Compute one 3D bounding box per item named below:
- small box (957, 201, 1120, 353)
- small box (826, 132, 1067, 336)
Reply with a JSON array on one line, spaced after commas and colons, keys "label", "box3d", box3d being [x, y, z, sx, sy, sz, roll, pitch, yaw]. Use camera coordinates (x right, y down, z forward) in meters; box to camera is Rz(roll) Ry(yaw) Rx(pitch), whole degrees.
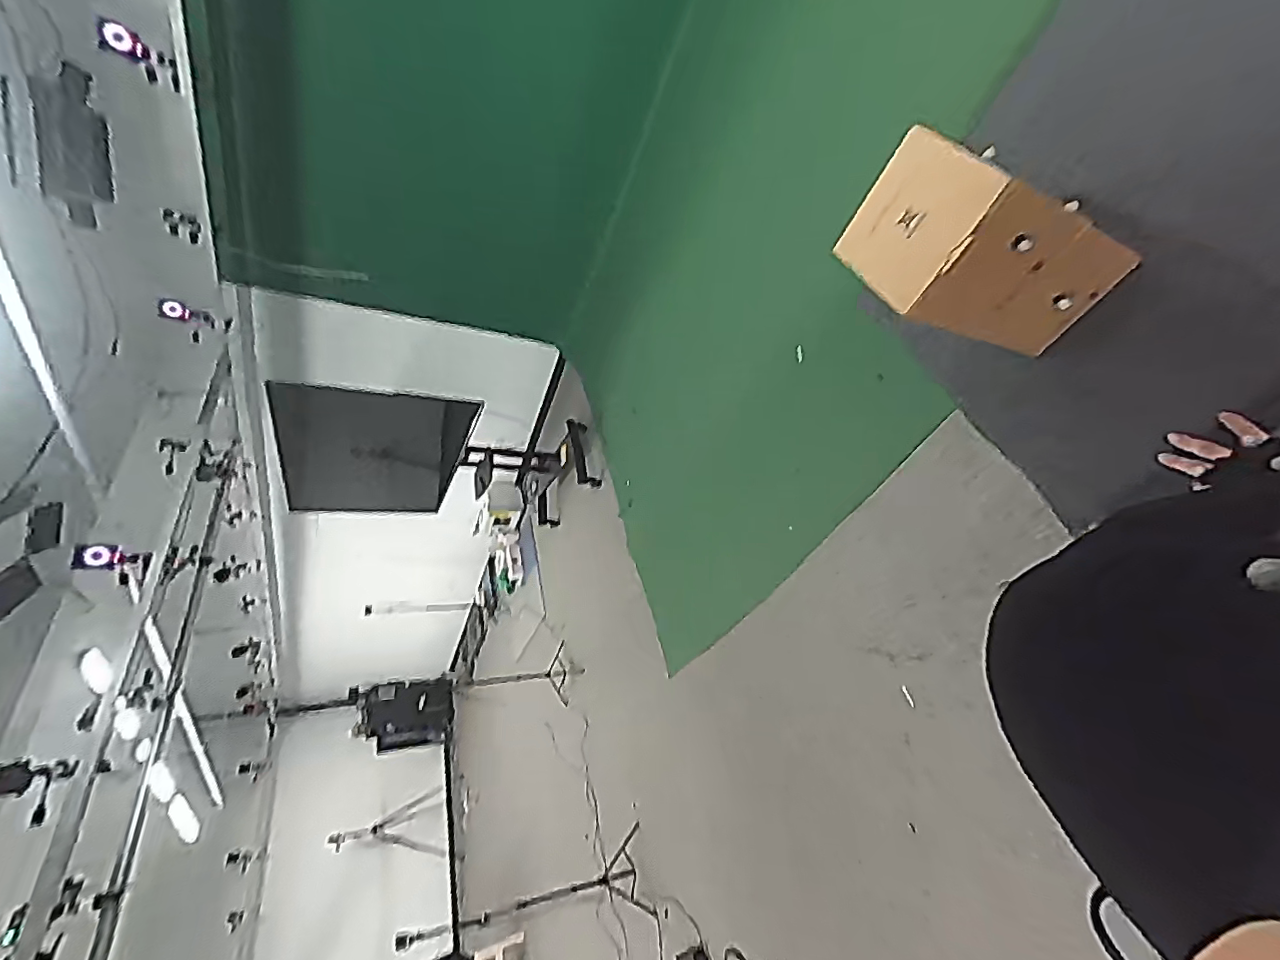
[{"label": "small box", "box3d": [0.526, -0.303, 0.783, 0.168, 0.176, 0.179, -58, 38, 39]}, {"label": "small box", "box3d": [0.387, -0.305, 0.697, 0.168, 0.176, 0.179, -60, 36, 37]}]
